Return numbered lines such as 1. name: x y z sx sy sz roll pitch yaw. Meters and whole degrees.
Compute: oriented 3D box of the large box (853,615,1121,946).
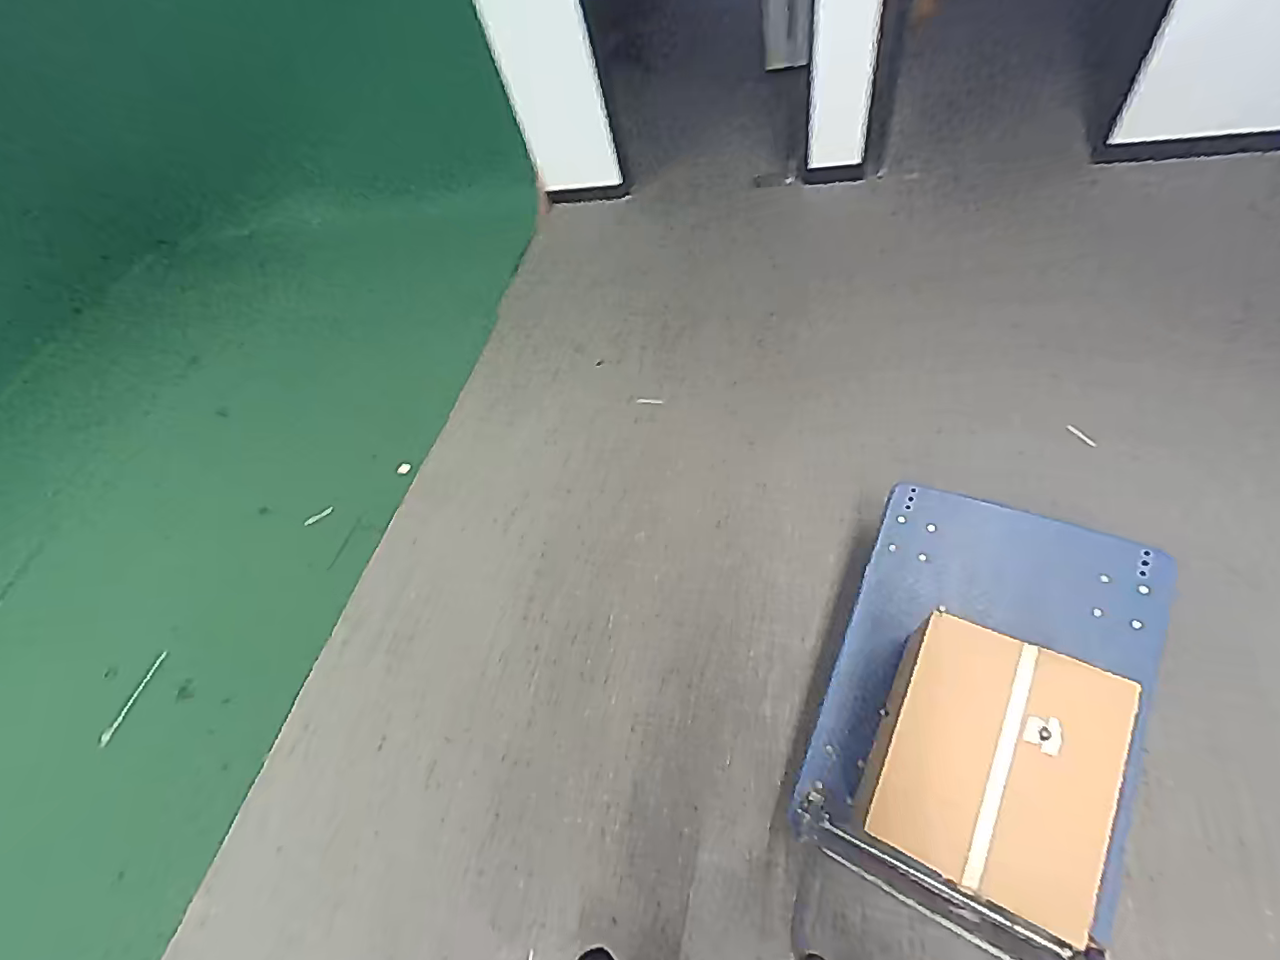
1. large box: 0.627 0.532 1.033 0.320 0.320 0.408 20 73 25
